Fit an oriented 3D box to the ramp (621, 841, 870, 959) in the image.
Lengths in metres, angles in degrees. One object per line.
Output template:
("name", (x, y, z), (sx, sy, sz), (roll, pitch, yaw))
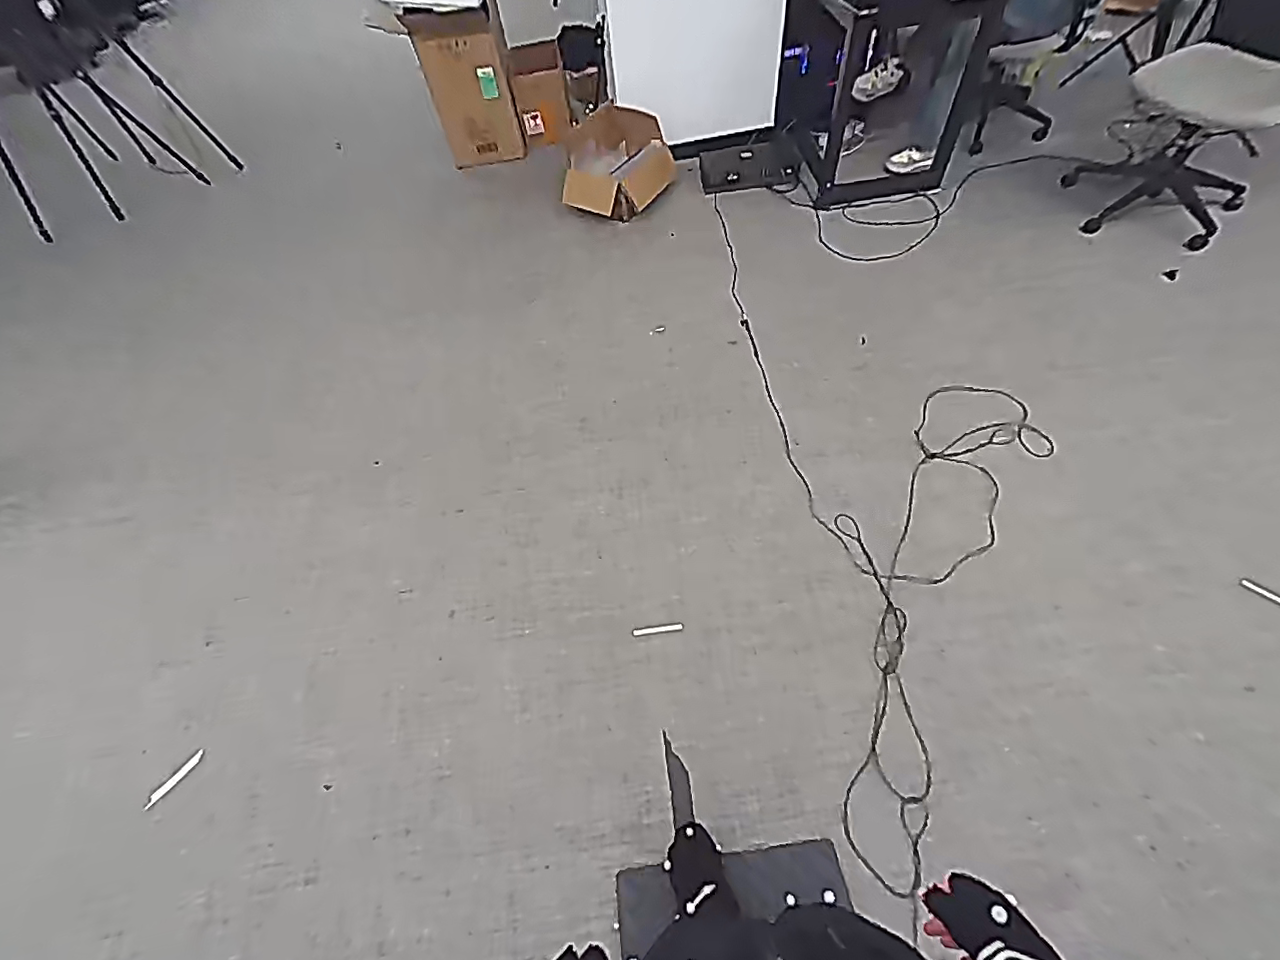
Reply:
("ramp", (0.249, 1.200, 0.865), (0.509, 0.206, 0.991), (-12, 56, 0))
